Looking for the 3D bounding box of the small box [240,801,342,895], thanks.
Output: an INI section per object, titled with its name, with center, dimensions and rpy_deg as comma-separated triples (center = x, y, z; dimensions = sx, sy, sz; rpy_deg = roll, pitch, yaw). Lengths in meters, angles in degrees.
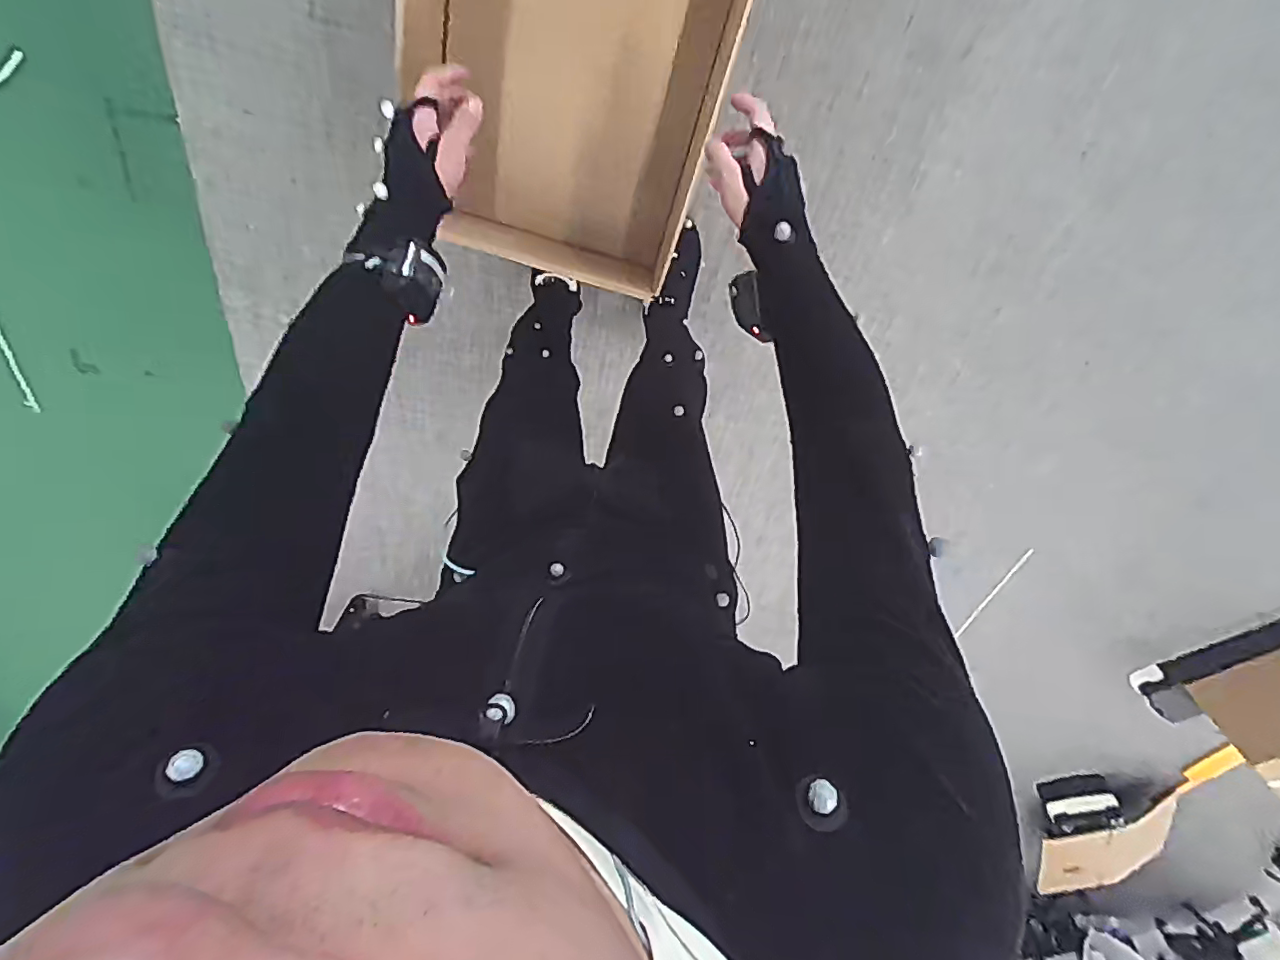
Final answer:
[small box]
center = -0.962, 1.021, 1.506
dimensions = 0.179, 0.176, 0.168
rpy_deg = 14, 128, -8
